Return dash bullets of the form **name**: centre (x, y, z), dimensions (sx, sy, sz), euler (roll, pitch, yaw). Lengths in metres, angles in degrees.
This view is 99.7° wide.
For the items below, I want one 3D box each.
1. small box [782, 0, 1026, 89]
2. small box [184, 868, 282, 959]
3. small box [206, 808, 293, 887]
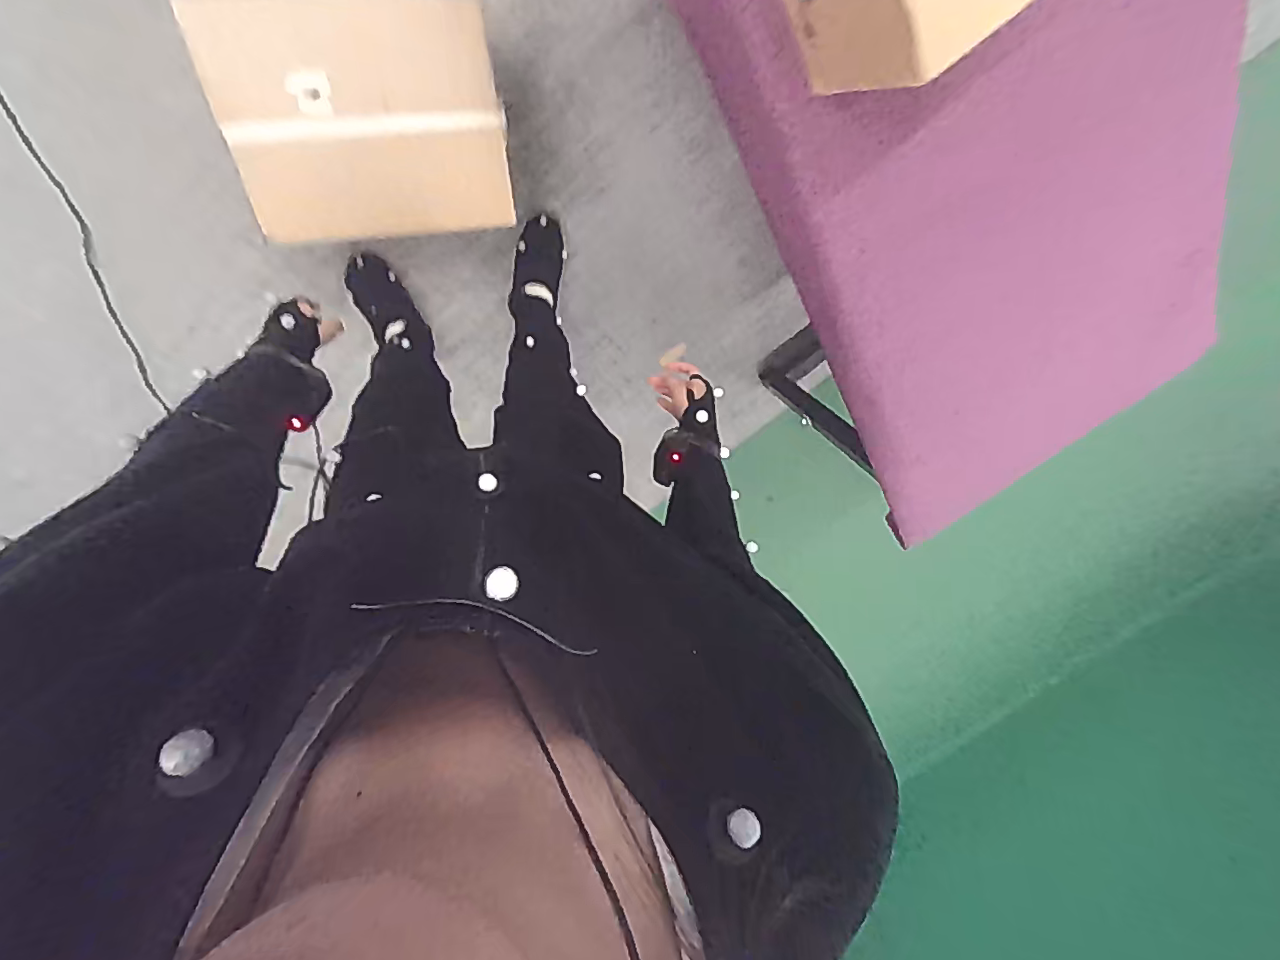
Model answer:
- **small box**: centre (0.236, -0.476, 0.464), dimensions (0.179, 0.176, 0.168), euler (-37, 126, 6)
- **small box**: centre (-1.031, 1.125, 1.370), dimensions (0.168, 0.176, 0.179), euler (16, 114, -28)
- **small box**: centre (-1.084, 1.051, 1.506), dimensions (0.168, 0.176, 0.179), euler (11, 117, -26)
